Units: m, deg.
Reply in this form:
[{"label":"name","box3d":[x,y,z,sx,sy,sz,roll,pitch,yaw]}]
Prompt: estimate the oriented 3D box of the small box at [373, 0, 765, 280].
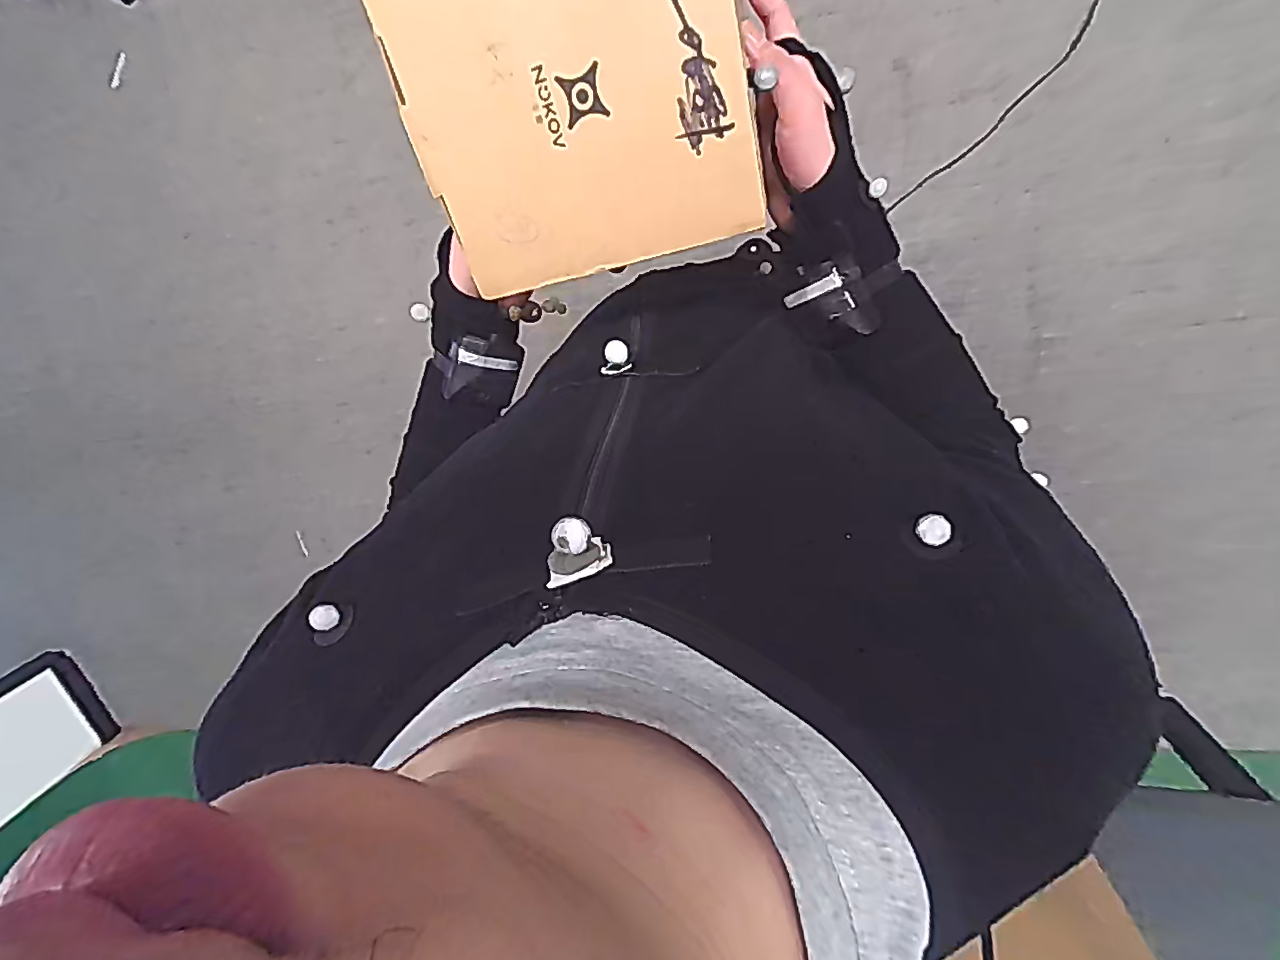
[{"label":"small box","box3d":[-0.021,-0.239,0.336,0.179,0.176,0.168,-6,120,17]}]
